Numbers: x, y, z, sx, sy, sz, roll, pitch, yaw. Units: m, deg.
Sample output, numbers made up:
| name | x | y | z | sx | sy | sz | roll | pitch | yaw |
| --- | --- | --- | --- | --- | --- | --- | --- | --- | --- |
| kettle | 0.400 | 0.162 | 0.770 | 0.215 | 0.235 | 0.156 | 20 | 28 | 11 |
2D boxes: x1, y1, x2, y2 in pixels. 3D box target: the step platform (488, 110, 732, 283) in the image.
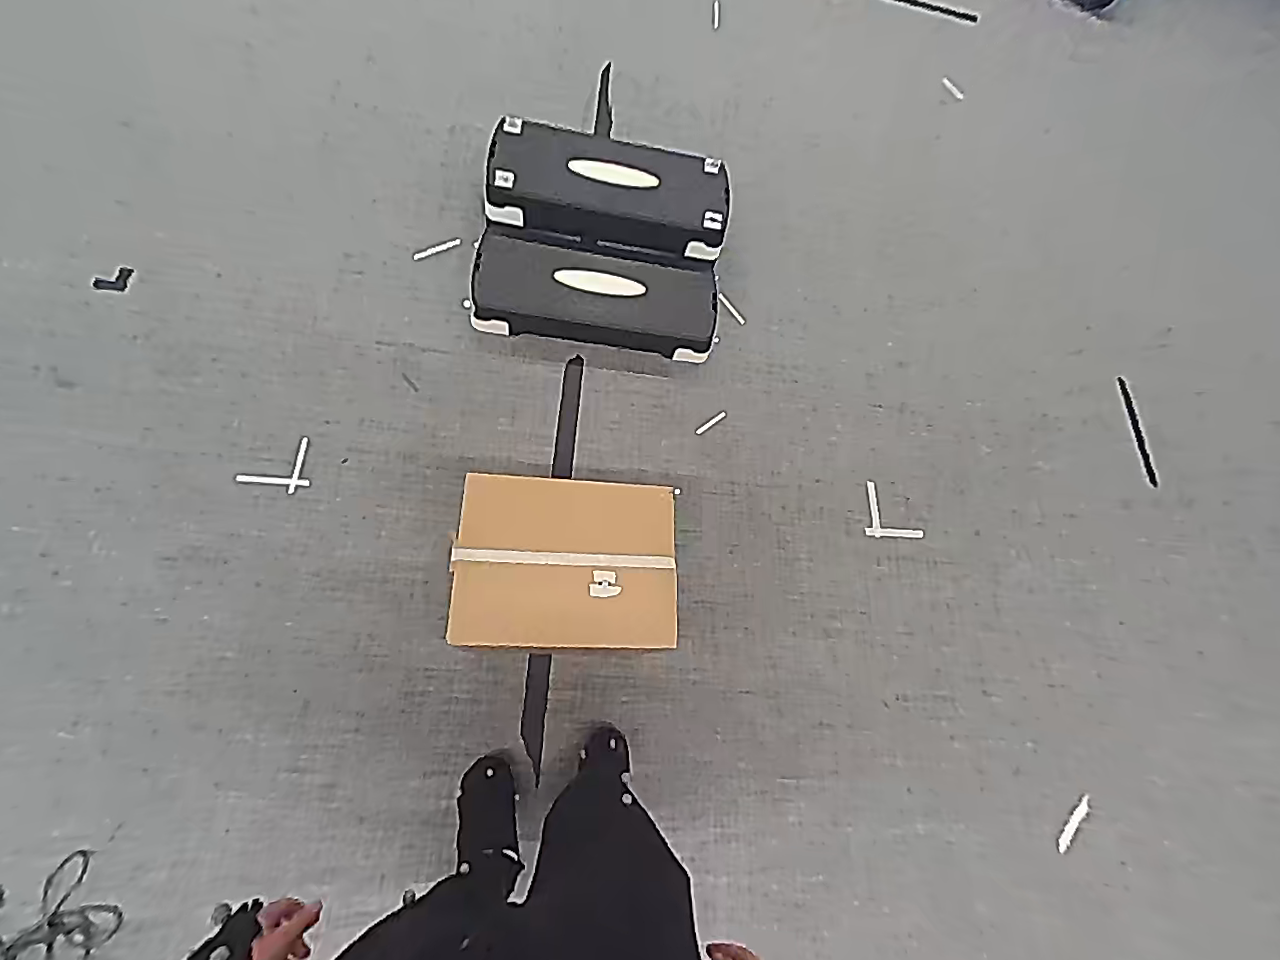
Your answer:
| name | x | y | z | sx | sy | sz | roll | pitch | yaw |
| --- | --- | --- | --- | --- | --- | --- | --- | --- | --- |
| step platform | -0.079 | -0.805 | 1.551 | 0.684 | 0.204 | 0.286 | 11 | 70 | -8 |

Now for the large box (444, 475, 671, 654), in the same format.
| name | x | y | z | sx | sy | sz | roll | pitch | yaw |
| --- | --- | --- | --- | --- | --- | --- | --- | --- | --- |
| large box | -0.170 | 0.194 | 1.131 | 0.408 | 0.320 | 0.320 | 4 | 71 | -11 |
